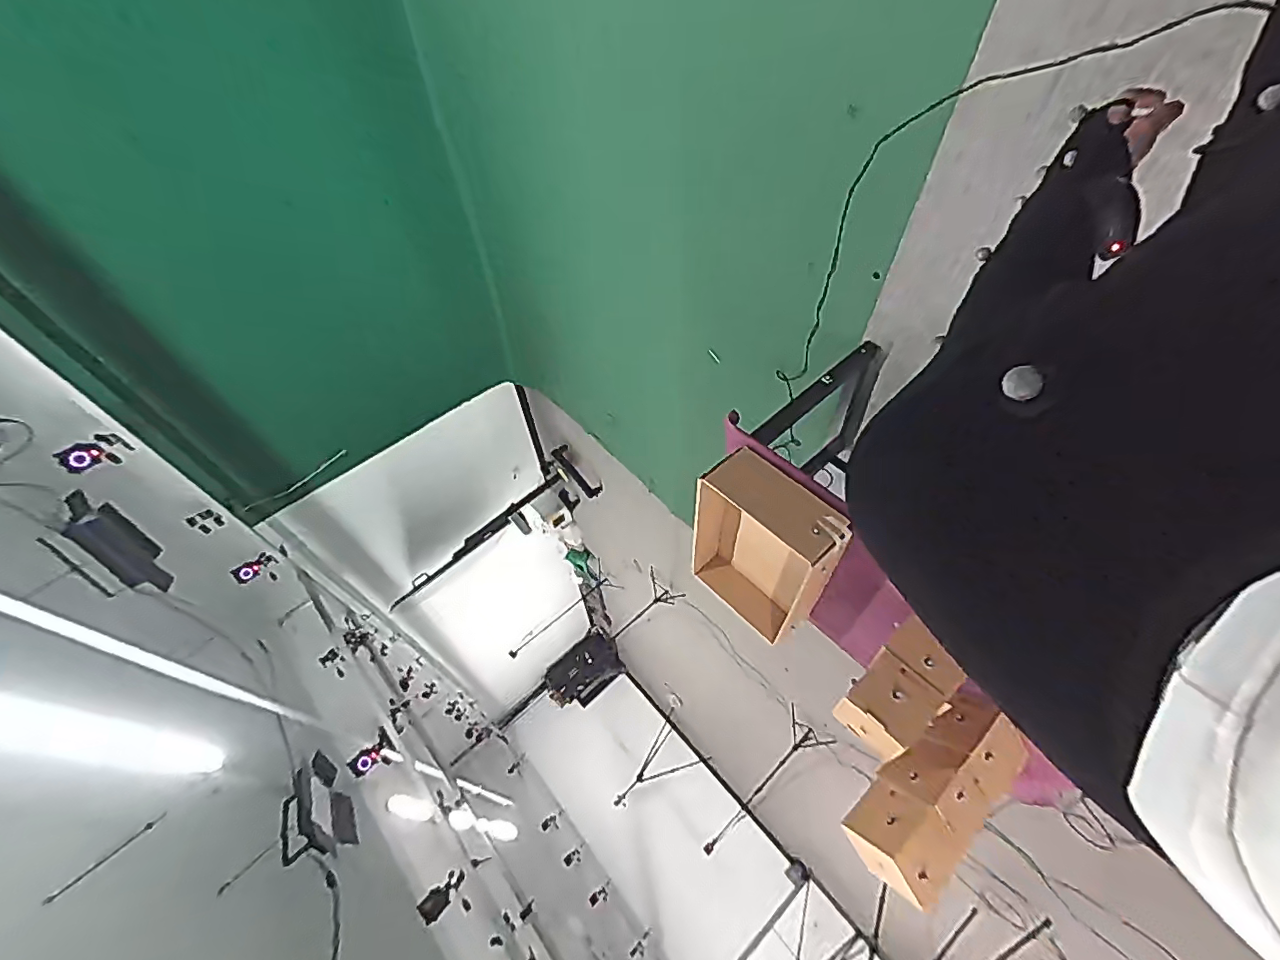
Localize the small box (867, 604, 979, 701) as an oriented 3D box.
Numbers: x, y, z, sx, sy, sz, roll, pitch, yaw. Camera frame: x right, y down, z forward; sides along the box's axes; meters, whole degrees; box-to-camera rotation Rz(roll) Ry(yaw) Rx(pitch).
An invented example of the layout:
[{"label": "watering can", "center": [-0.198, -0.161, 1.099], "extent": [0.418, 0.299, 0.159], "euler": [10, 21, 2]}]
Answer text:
[{"label": "small box", "center": [0.729, 0.456, 1.399], "extent": [0.179, 0.176, 0.168], "euler": [40, 156, 30]}]

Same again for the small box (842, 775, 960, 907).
[{"label": "small box", "center": [0.644, 0.878, 1.336], "extent": [0.179, 0.176, 0.168], "euler": [58, 157, -10]}]

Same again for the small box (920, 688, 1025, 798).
[{"label": "small box", "center": [0.885, 0.694, 1.452], "extent": [0.179, 0.176, 0.168], "euler": [58, 158, -11]}]

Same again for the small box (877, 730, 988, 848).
[{"label": "small box", "center": [0.761, 0.784, 1.397], "extent": [0.168, 0.176, 0.179], "euler": [59, 158, -11]}]

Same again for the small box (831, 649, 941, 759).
[{"label": "small box", "center": [0.610, 0.553, 1.343], "extent": [0.168, 0.176, 0.179], "euler": [41, 156, 29]}]
